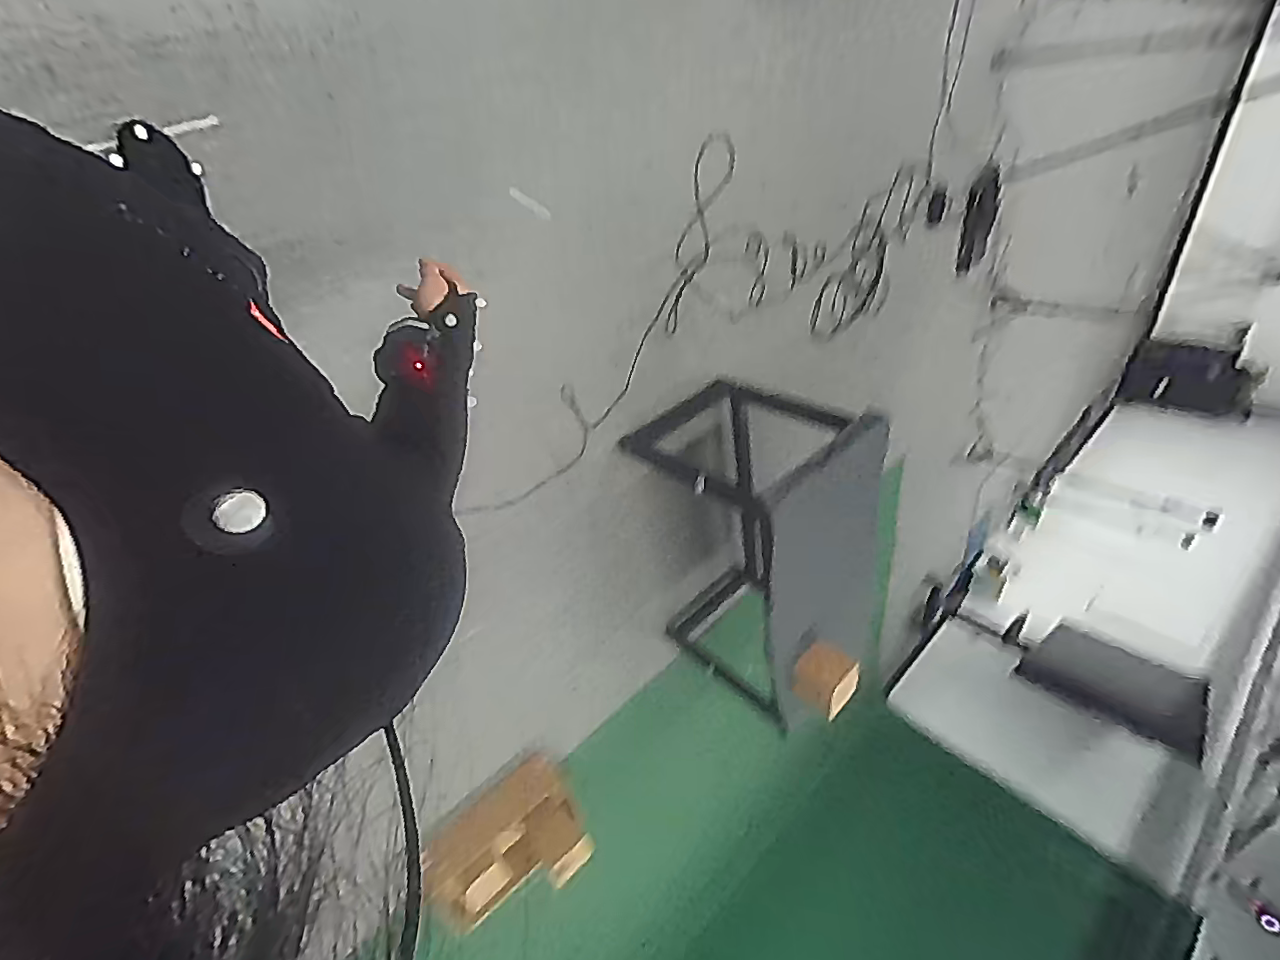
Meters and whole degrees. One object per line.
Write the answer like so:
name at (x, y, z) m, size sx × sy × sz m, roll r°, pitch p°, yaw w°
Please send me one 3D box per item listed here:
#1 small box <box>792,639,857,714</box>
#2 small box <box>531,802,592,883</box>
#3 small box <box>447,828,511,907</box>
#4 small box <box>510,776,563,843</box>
small box at (0.687, 0.725, 2.021) m, size 0.168 × 0.176 × 0.179 m, roll -31°, pitch 130°, yaw -29°
small box at (-0.324, 1.471, 2.202) m, size 0.179 × 0.176 × 0.168 m, roll -32°, pitch 129°, yaw -28°
small box at (-0.652, 1.552, 2.180) m, size 0.168 × 0.176 × 0.179 m, roll -31°, pitch 128°, yaw -29°
small box at (-0.428, 1.418, 2.318) m, size 0.179 × 0.176 × 0.168 m, roll -32°, pitch 128°, yaw -26°
